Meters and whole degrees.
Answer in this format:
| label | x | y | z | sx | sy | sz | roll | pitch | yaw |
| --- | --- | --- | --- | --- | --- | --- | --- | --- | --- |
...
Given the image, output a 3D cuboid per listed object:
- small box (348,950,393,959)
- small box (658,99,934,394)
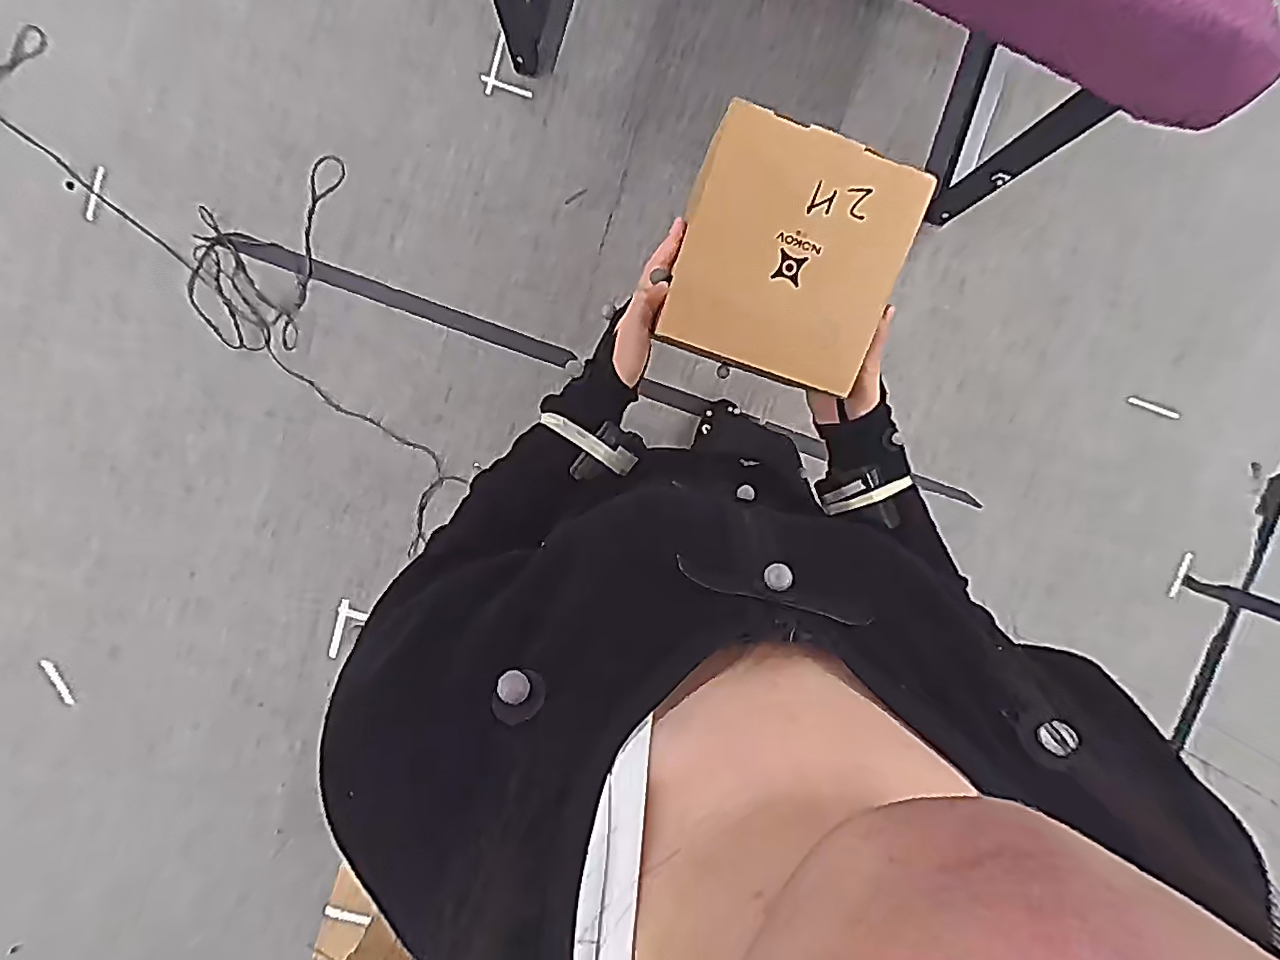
| label | x | y | z | sx | sy | sz | roll | pitch | yaw |
| --- | --- | --- | --- | --- | --- | --- | --- | --- | --- |
| small box | -0.529 | 1.062 | 1.034 | 0.168 | 0.176 | 0.179 | 15 | 95 | -2 |
| small box | 0.119 | -0.192 | 0.496 | 0.168 | 0.176 | 0.179 | 17 | 102 | -7 |
